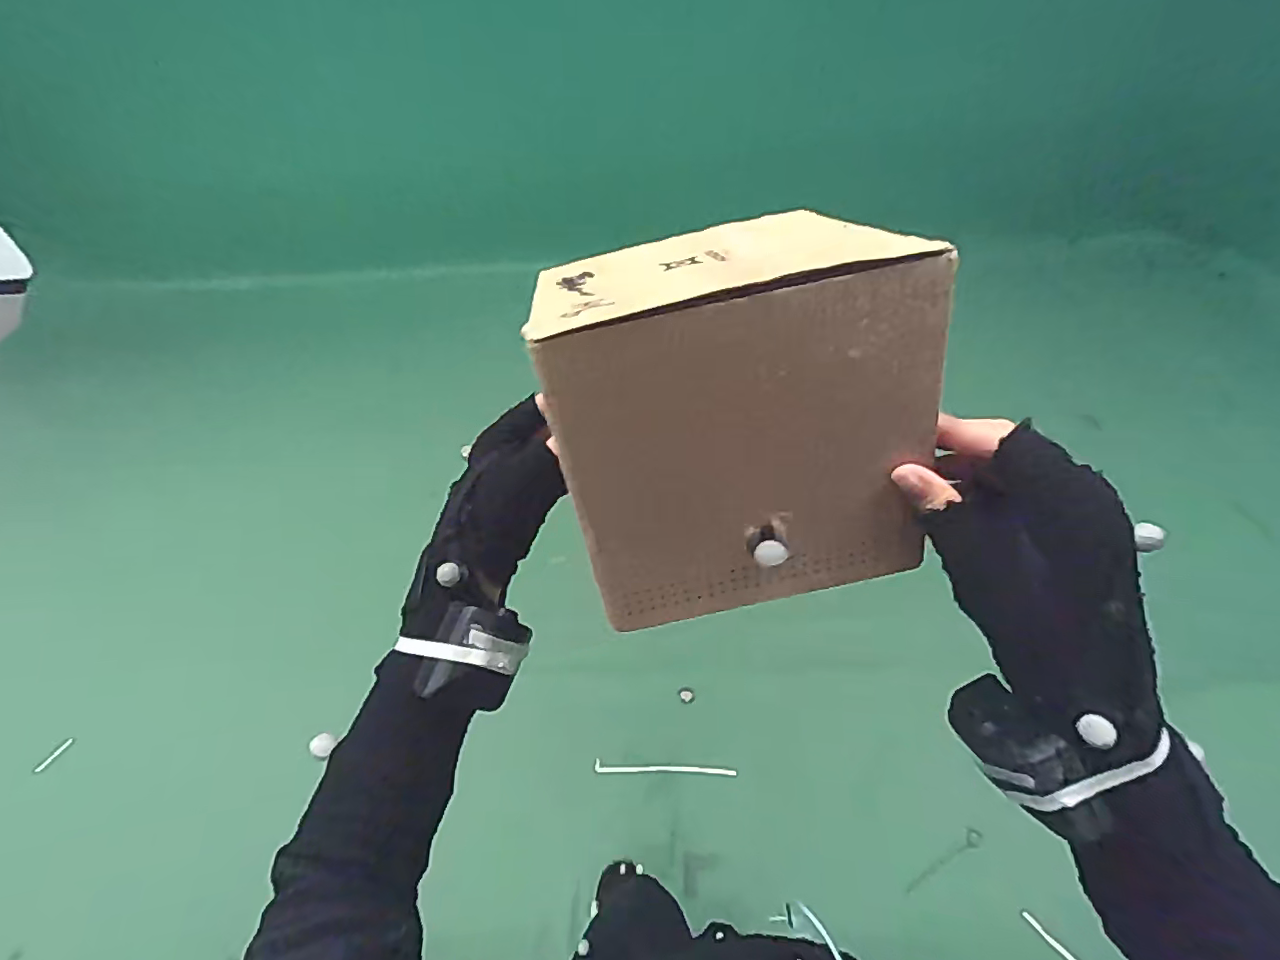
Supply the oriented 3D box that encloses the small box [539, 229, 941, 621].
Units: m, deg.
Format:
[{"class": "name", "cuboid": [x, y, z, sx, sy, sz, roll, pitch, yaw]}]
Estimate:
[{"class": "small box", "cuboid": [0.046, -0.042, 0.332, 0.179, 0.176, 0.168, -12, 29, -2]}]
